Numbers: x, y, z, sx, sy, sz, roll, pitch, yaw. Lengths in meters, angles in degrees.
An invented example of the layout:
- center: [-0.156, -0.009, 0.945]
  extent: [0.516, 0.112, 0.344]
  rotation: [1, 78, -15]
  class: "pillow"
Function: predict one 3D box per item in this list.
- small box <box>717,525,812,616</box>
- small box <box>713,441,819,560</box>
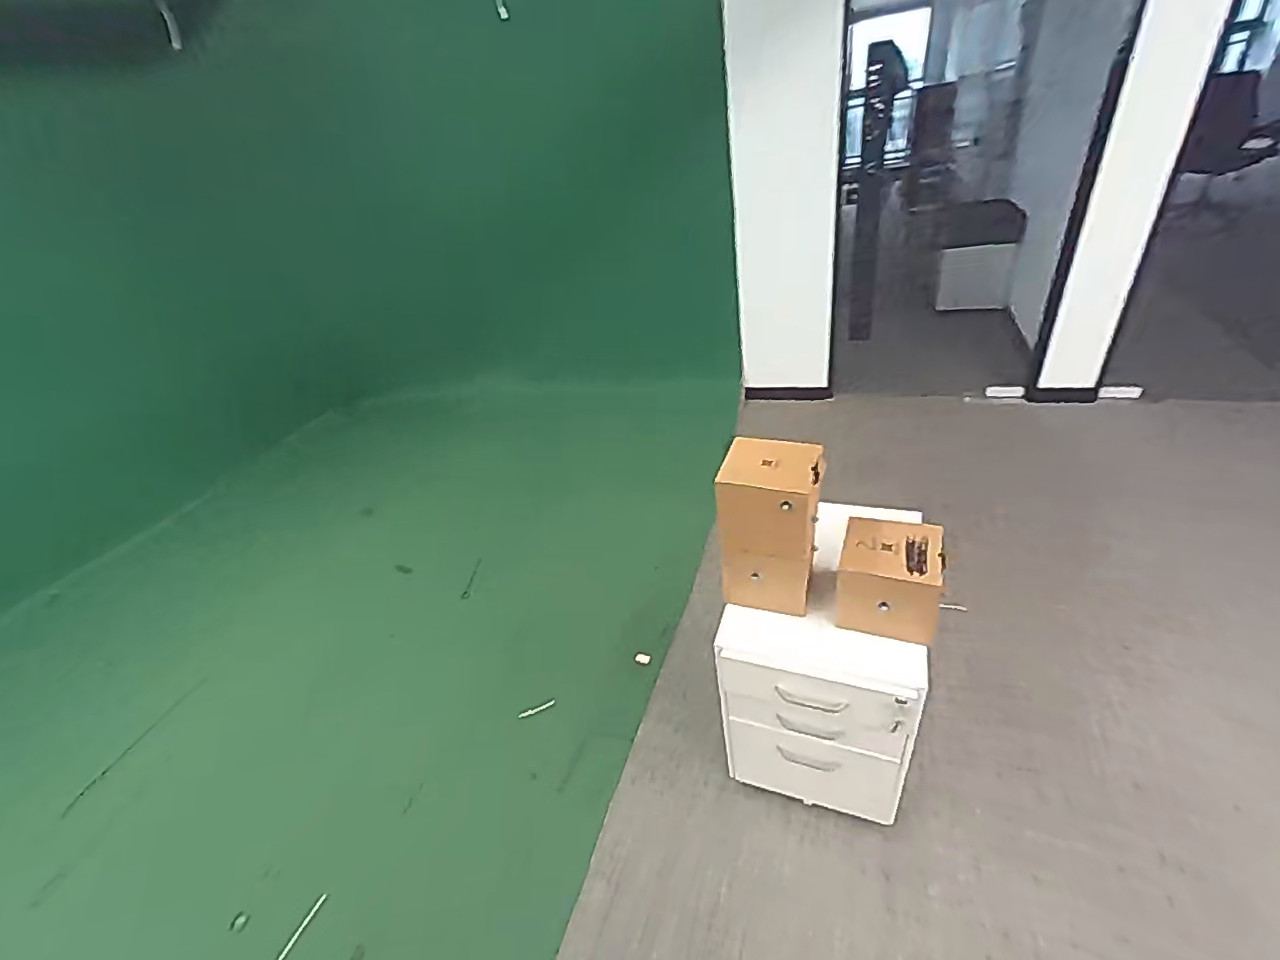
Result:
- center: [0.277, 0.175, 1.183]
  extent: [0.179, 0.176, 0.168]
  rotation: [6, 37, 21]
  class: "small box"
- center: [0.255, 0.041, 1.092]
  extent: [0.179, 0.176, 0.168]
  rotation: [8, 38, 21]
  class: "small box"
